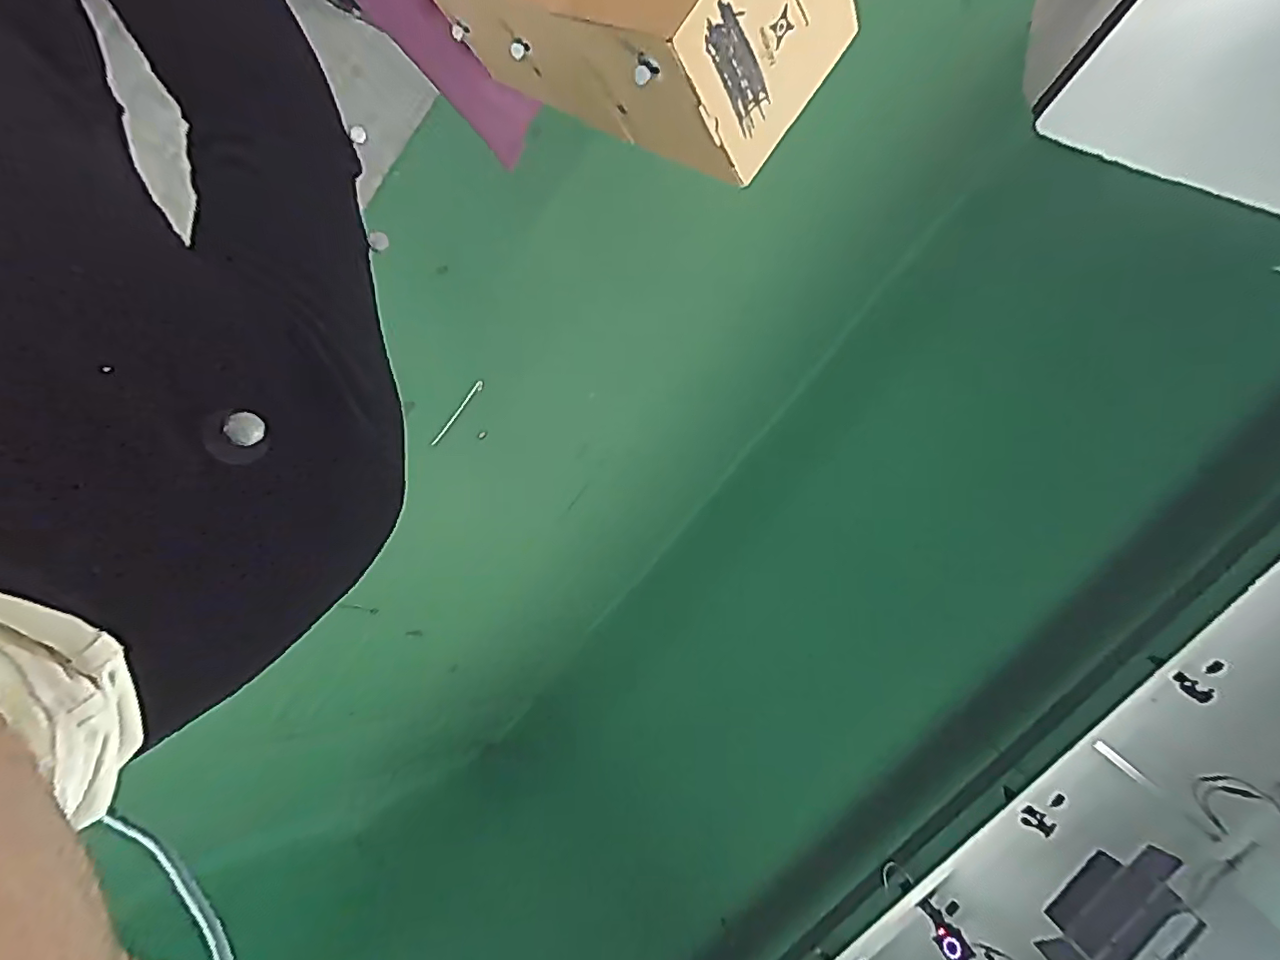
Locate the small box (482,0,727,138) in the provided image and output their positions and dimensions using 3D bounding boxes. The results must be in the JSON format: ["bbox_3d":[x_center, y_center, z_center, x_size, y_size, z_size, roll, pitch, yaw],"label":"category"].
[{"bbox_3d":[-0.043,-0.523,0.577,0.179,0.176,0.168,-50,150,7],"label":"small box"}]

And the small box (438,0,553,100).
[{"bbox_3d":[-0.149,-0.620,0.654,0.168,0.176,0.179,-50,152,6],"label":"small box"}]
